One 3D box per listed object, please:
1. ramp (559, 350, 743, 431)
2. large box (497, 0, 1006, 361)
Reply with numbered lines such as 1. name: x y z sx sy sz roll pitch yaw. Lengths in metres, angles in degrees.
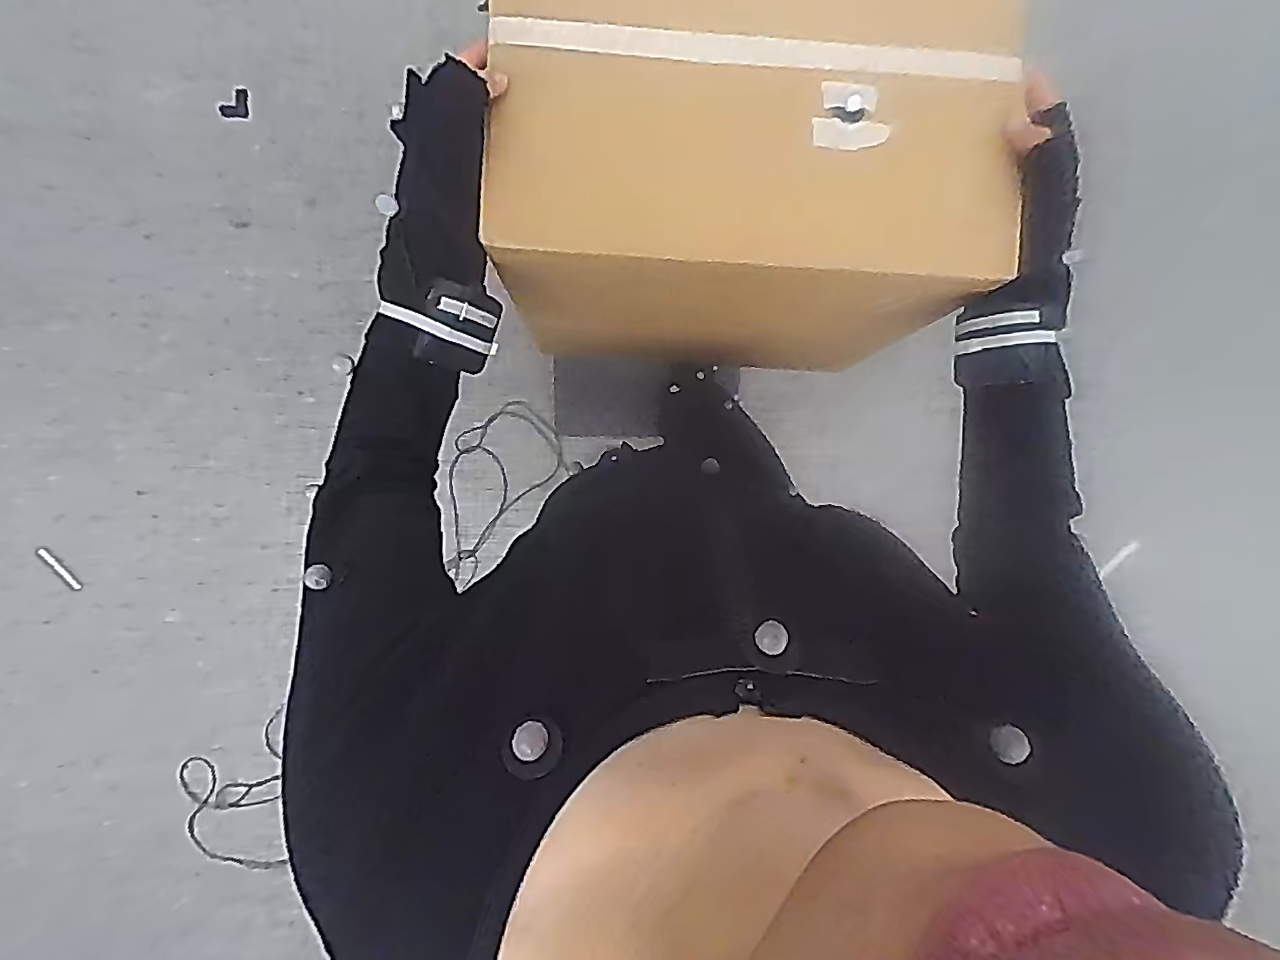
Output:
1. ramp: 0.037 -0.615 1.344 0.509 0.206 0.991 -2 95 -4
2. large box: 0.084 -0.321 0.572 0.408 0.320 0.320 3 88 -3
